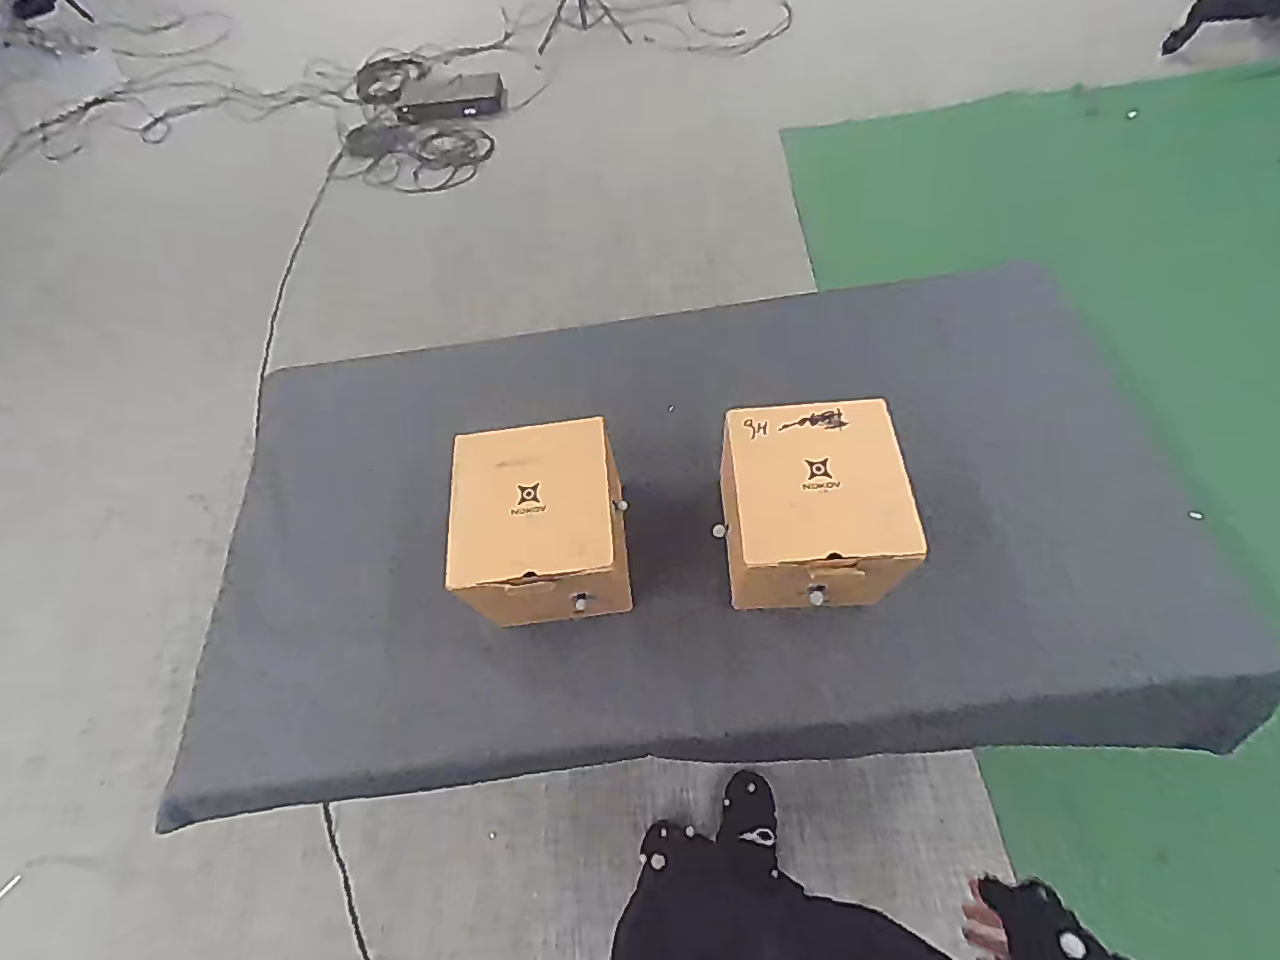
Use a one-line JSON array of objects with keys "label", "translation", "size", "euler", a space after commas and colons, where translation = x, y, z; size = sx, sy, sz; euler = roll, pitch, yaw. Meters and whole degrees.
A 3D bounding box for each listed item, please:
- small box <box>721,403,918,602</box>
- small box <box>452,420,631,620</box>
[{"label": "small box", "translation": [0.182, 0.035, 0.610], "size": [0.168, 0.176, 0.179], "euler": [-3, 63, 4]}, {"label": "small box", "translation": [-0.104, 0.057, 0.631], "size": [0.168, 0.176, 0.179], "euler": [-8, 61, 1]}]
